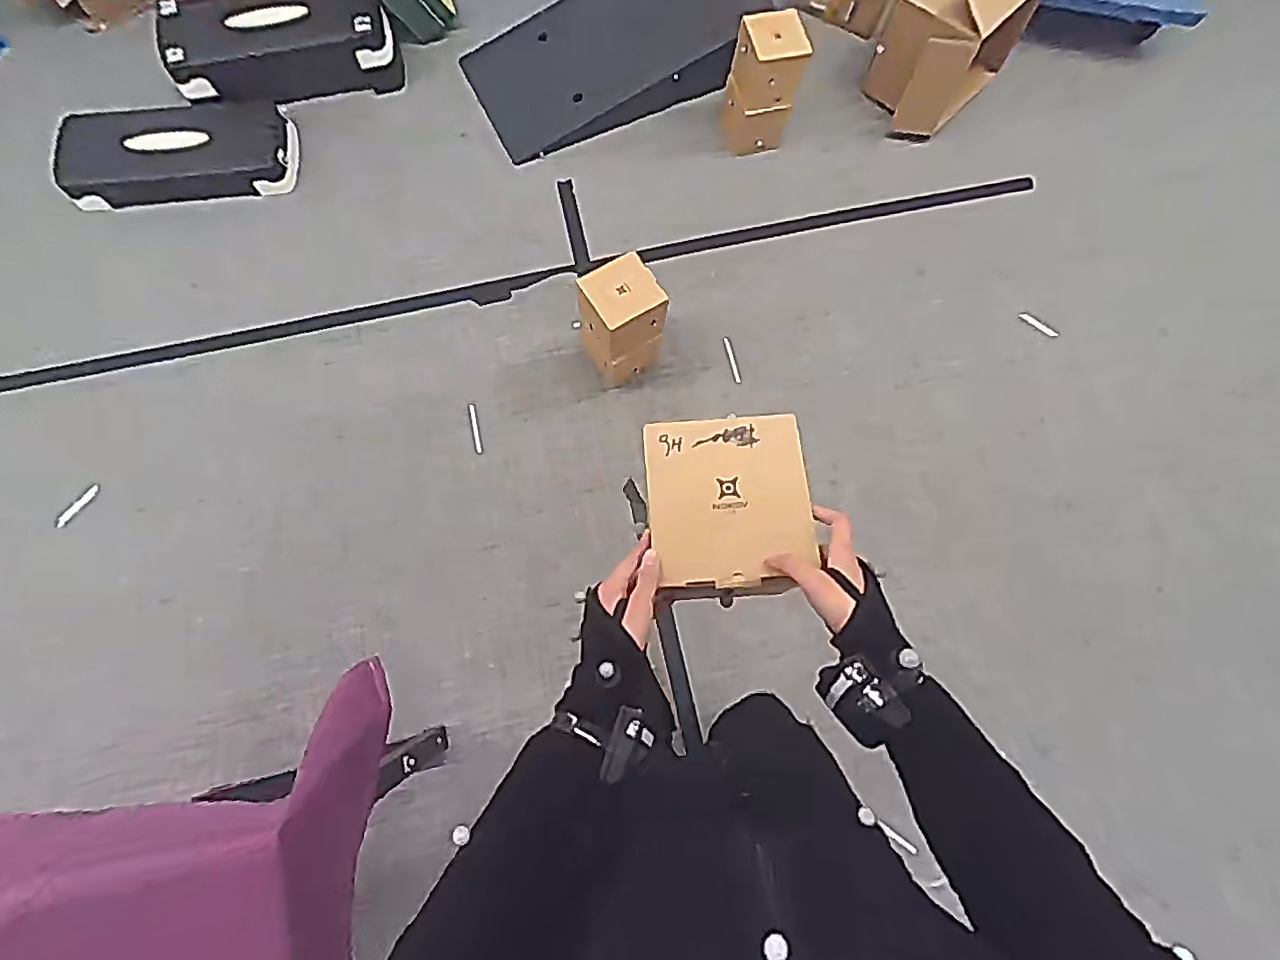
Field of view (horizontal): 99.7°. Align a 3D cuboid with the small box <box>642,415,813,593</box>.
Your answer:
[{"bbox_3d":[0.090,0.039,0.635,0.168,0.176,0.179,-3,73,0],"label":"small box"}]
